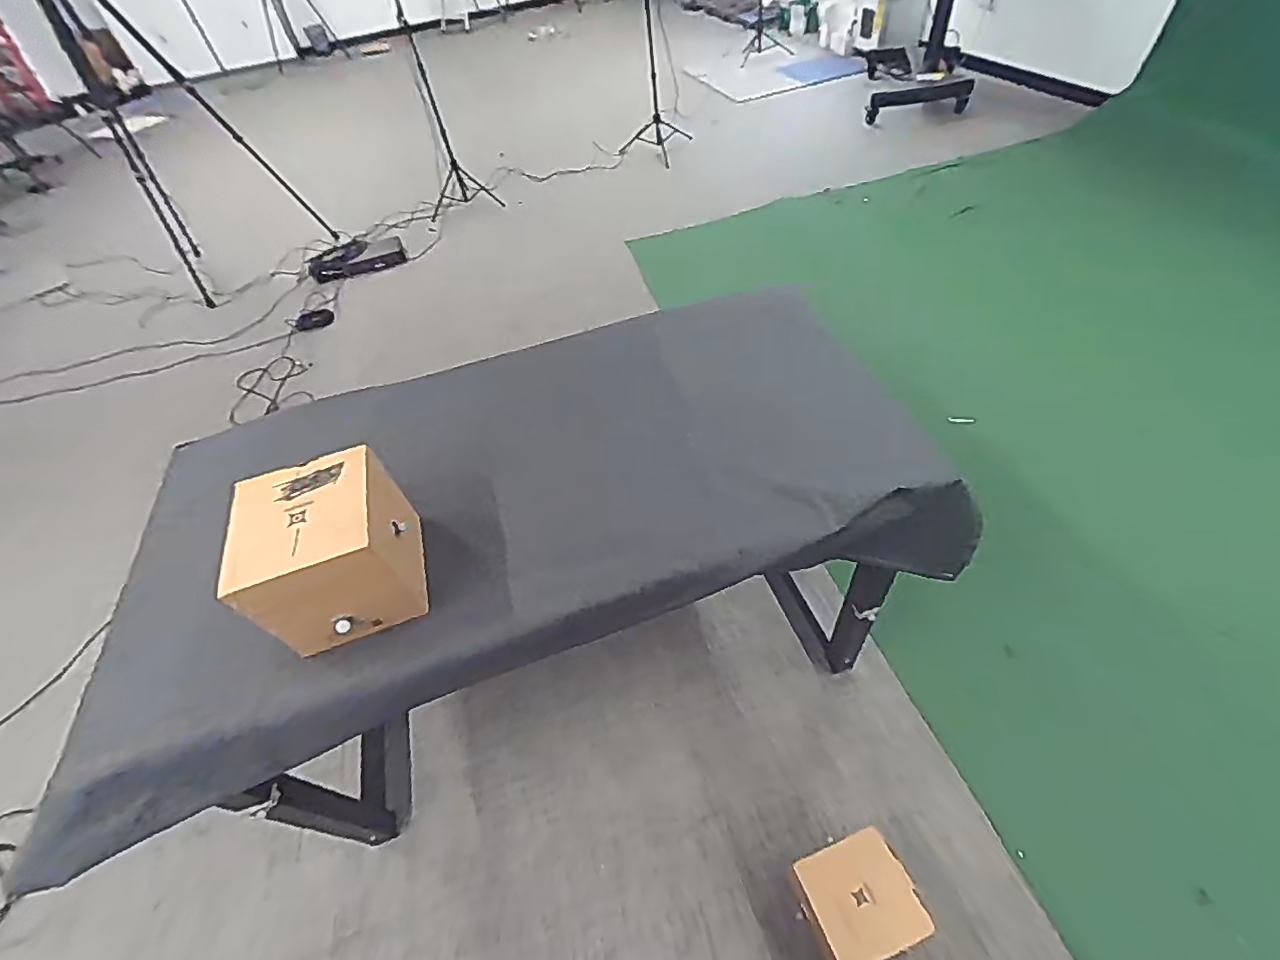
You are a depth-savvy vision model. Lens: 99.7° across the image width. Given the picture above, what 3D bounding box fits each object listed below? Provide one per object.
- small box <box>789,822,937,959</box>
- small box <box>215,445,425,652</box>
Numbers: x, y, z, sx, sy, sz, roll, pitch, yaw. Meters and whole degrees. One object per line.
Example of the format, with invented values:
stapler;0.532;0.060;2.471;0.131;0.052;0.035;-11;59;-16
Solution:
small box;0.390;0.757;0.982;0.179;0.176;0.168;-21;49;-8
small box;-0.396;0.090;0.700;0.168;0.176;0.179;-19;51;-8
